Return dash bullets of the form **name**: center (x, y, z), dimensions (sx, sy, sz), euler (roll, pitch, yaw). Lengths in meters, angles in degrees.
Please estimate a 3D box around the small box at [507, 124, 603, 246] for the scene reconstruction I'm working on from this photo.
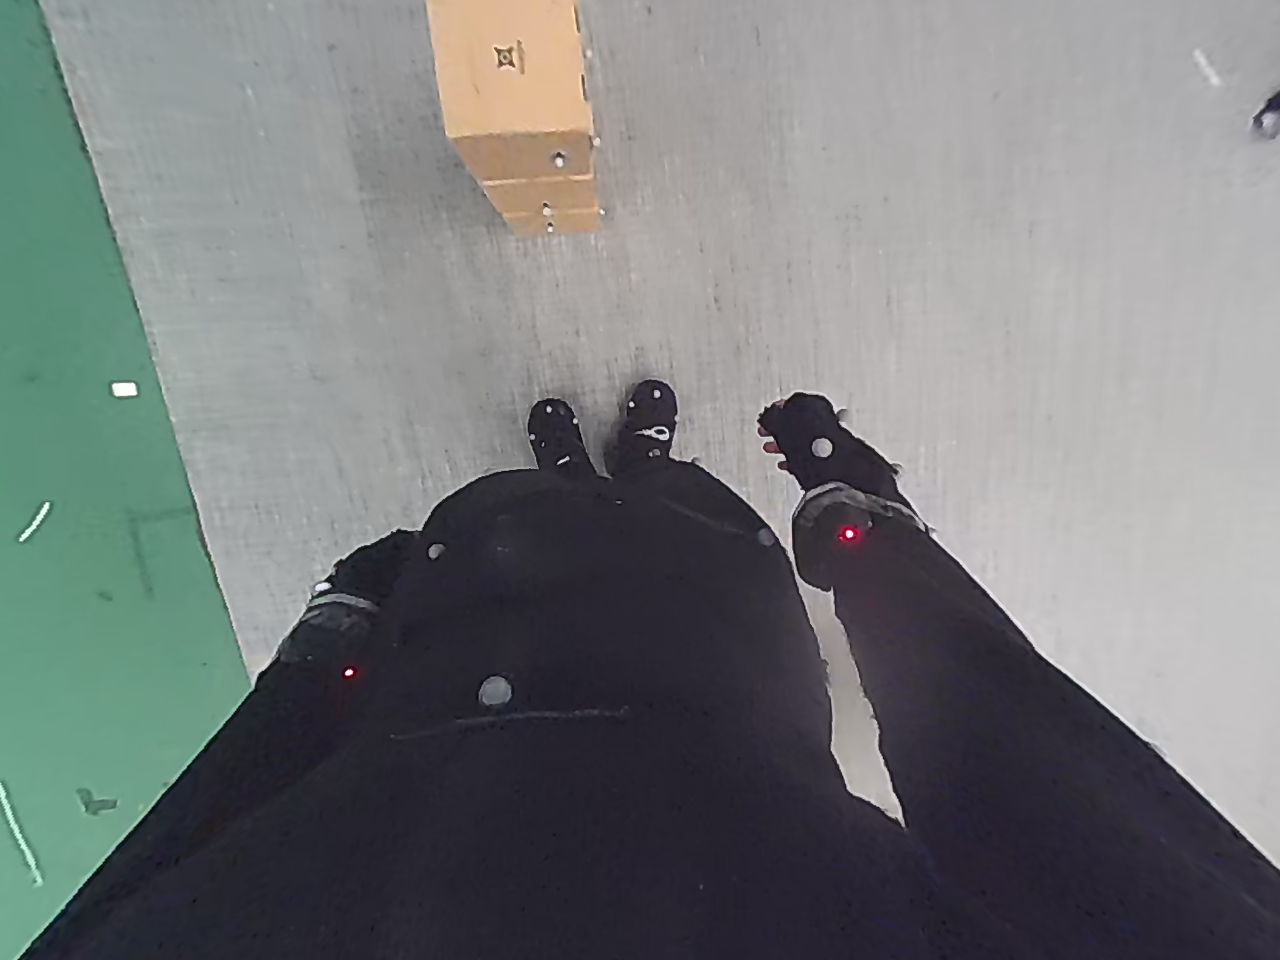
- **small box**: center (-0.170, -0.564, 1.047), dimensions (0.179, 0.176, 0.168), euler (-8, 103, -3)

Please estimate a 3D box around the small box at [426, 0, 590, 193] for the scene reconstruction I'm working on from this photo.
- **small box**: center (-0.161, -0.503, 0.726), dimensions (0.179, 0.176, 0.168), euler (-6, 102, -1)

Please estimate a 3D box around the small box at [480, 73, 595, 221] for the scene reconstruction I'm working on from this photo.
- **small box**: center (-0.167, -0.534, 0.886), dimensions (0.179, 0.176, 0.168), euler (-5, 103, -3)
